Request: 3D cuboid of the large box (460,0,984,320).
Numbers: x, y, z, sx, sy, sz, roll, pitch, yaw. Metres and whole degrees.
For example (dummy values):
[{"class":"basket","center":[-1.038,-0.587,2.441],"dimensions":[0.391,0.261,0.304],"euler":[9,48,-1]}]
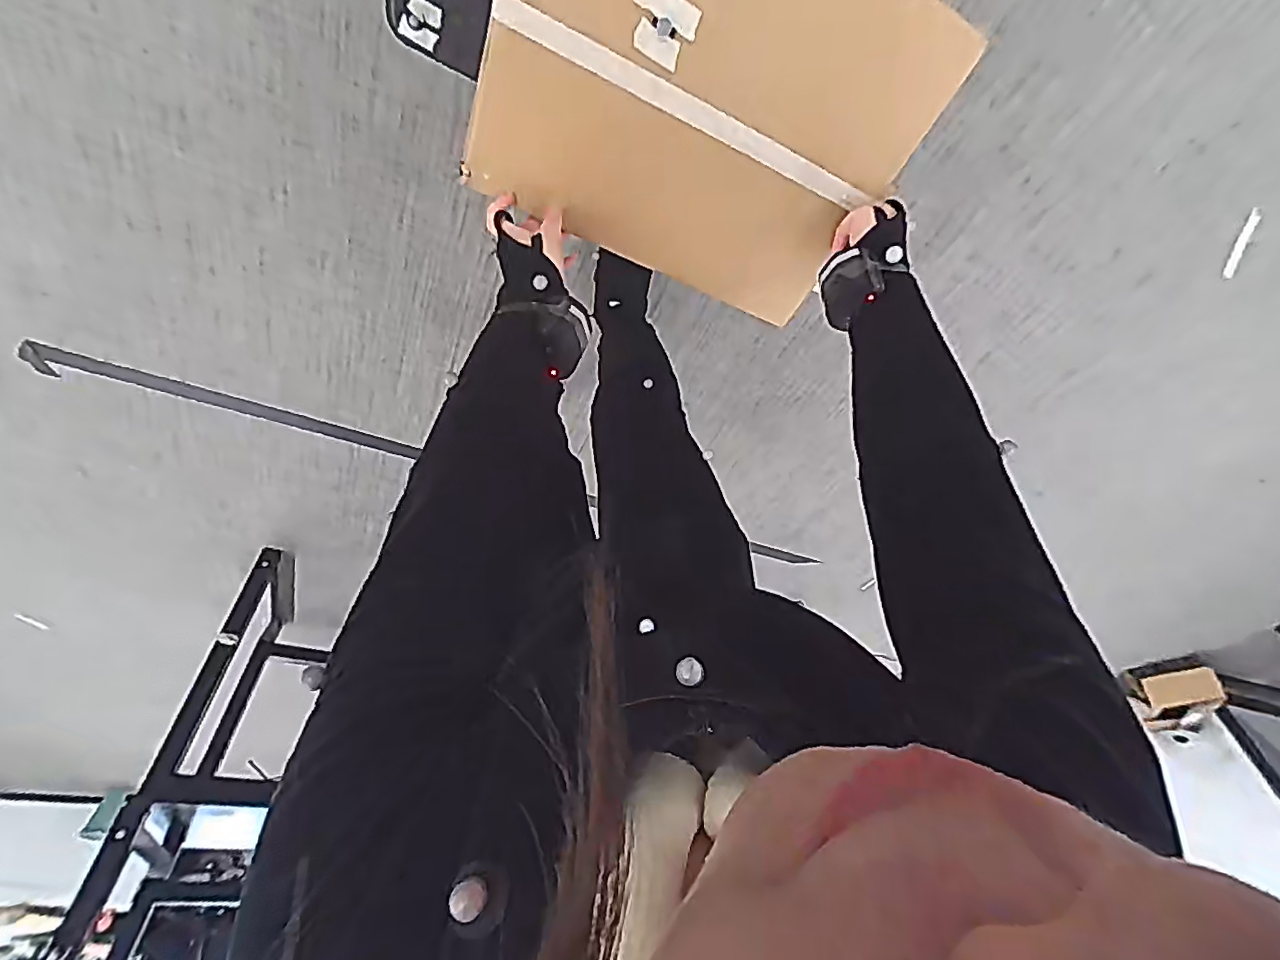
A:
[{"class":"large box","center":[0.060,-0.452,0.610],"dimensions":[0.408,0.320,0.320],"euler":[18,133,-17]}]
